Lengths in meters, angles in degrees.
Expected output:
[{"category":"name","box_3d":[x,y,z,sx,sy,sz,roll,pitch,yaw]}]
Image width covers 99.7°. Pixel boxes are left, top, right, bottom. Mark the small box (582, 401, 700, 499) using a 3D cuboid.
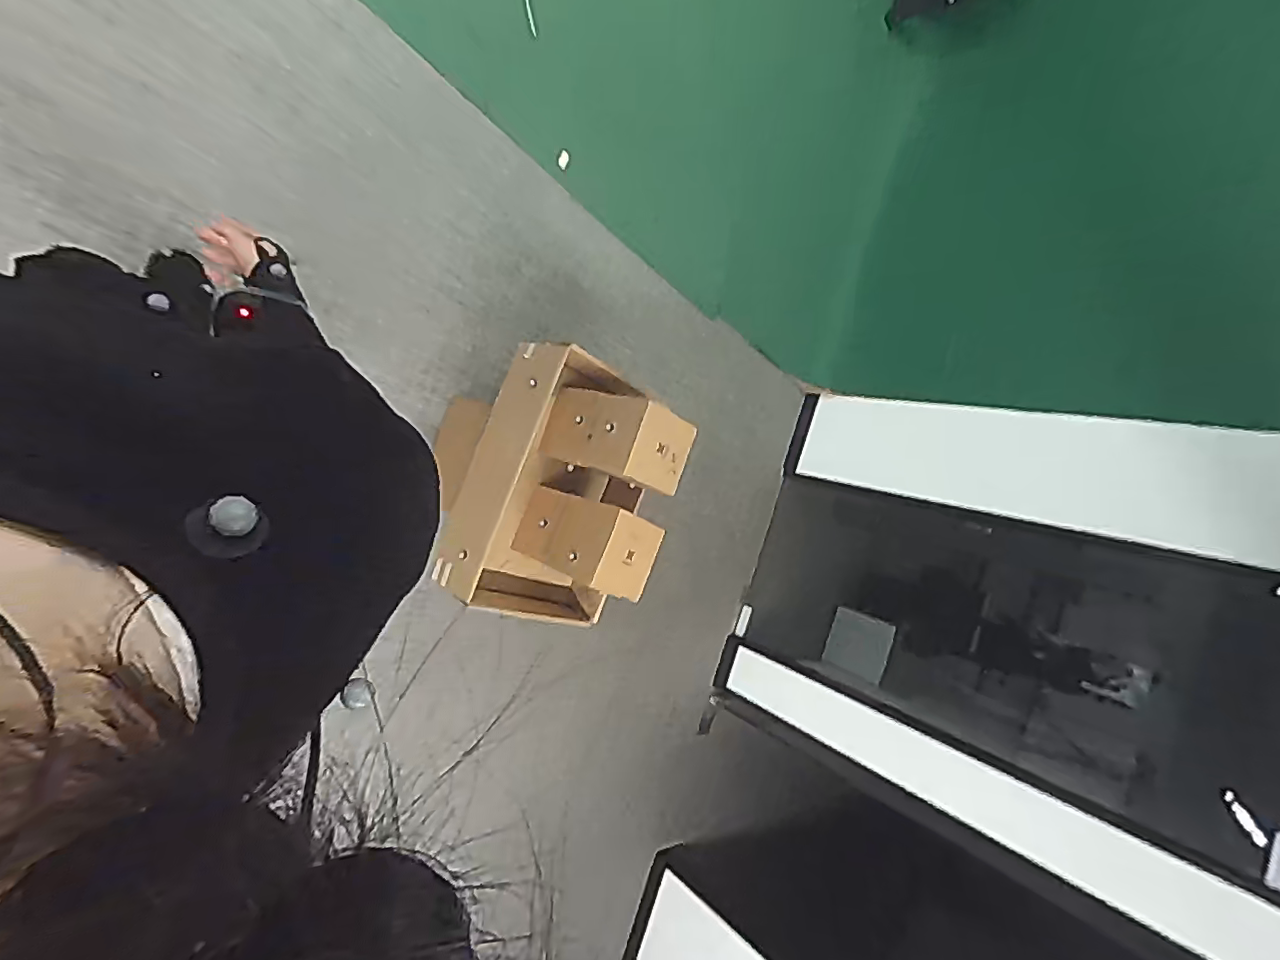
[{"category":"small box","box_3d":[0.000,-0.071,1.213,0.179,0.176,0.168,25,83,-45]}]
